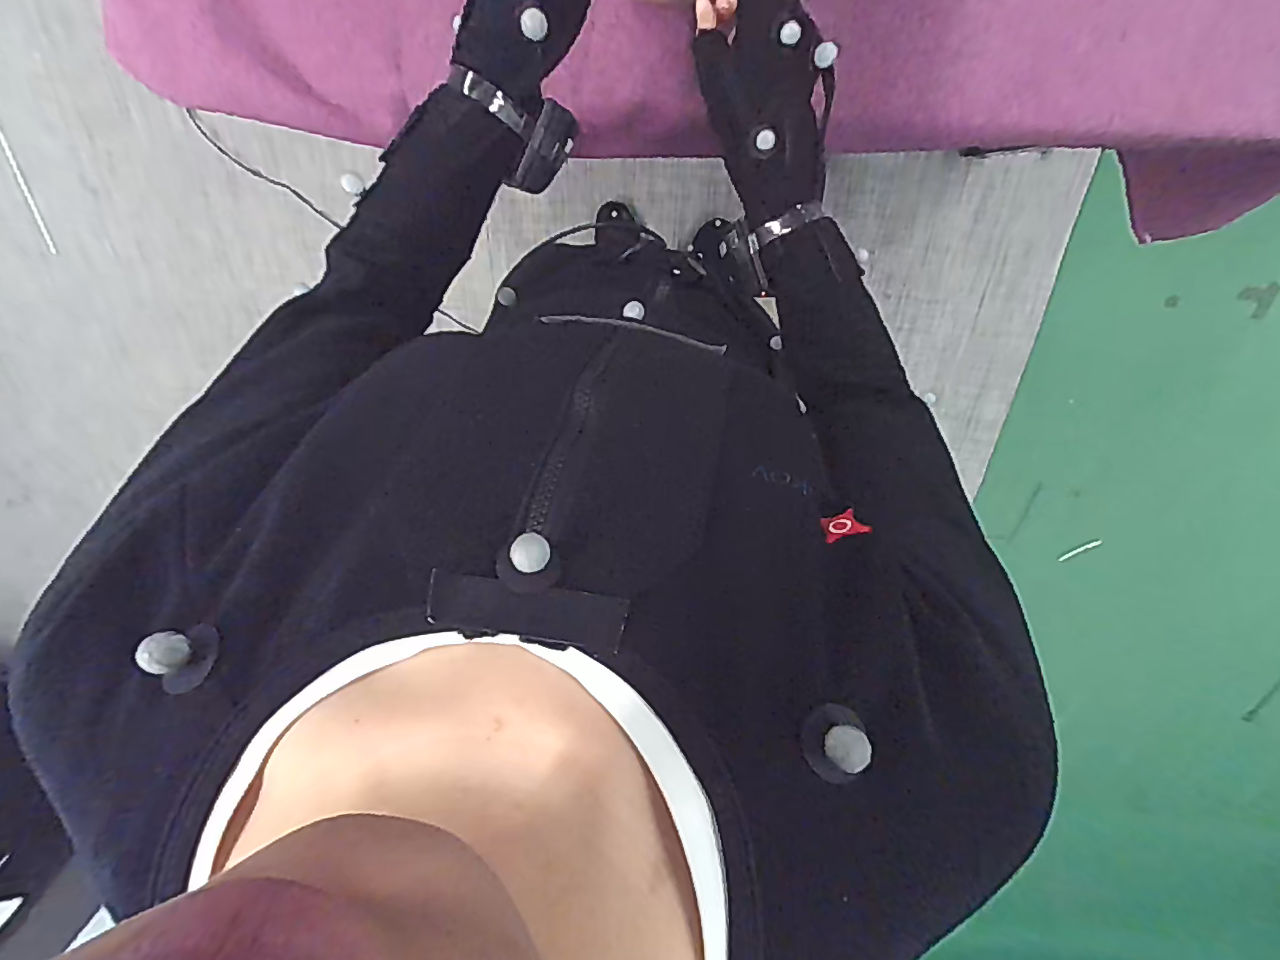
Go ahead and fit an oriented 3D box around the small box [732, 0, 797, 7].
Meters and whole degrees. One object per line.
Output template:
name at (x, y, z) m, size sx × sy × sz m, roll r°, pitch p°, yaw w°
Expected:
small box at (0.069, -0.487, 0.400) m, size 0.168 × 0.176 × 0.179 m, roll 6°, pitch 118°, yaw 2°
